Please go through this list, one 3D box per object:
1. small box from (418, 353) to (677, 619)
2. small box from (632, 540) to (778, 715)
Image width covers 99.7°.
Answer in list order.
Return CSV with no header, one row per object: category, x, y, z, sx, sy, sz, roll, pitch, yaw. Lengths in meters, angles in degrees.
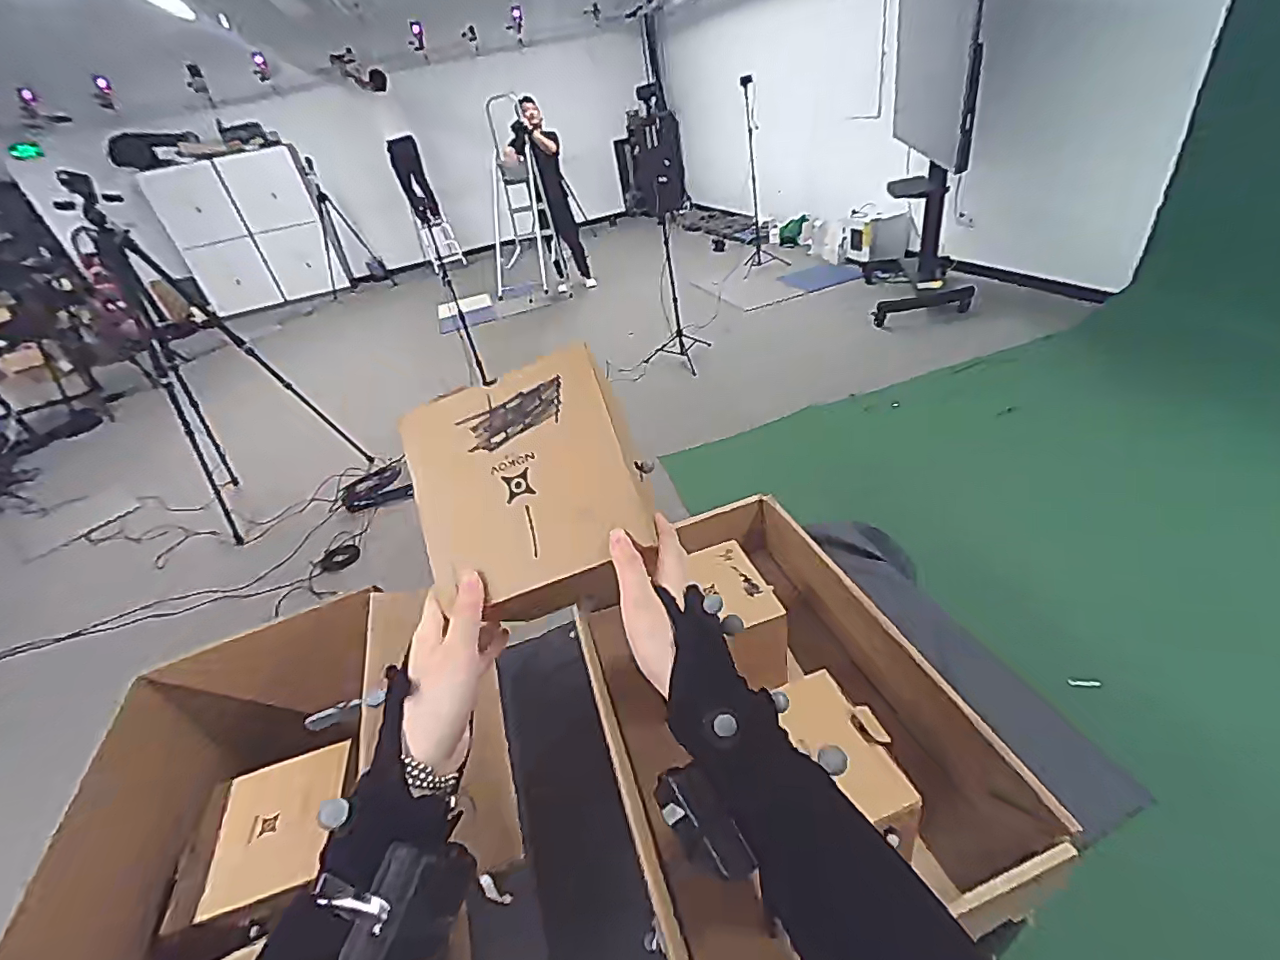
small box,-0.072,0.020,0.497,0.168,0.176,0.179,-20,73,3
small box,0.101,0.228,0.835,0.179,0.176,0.168,-18,38,-8
